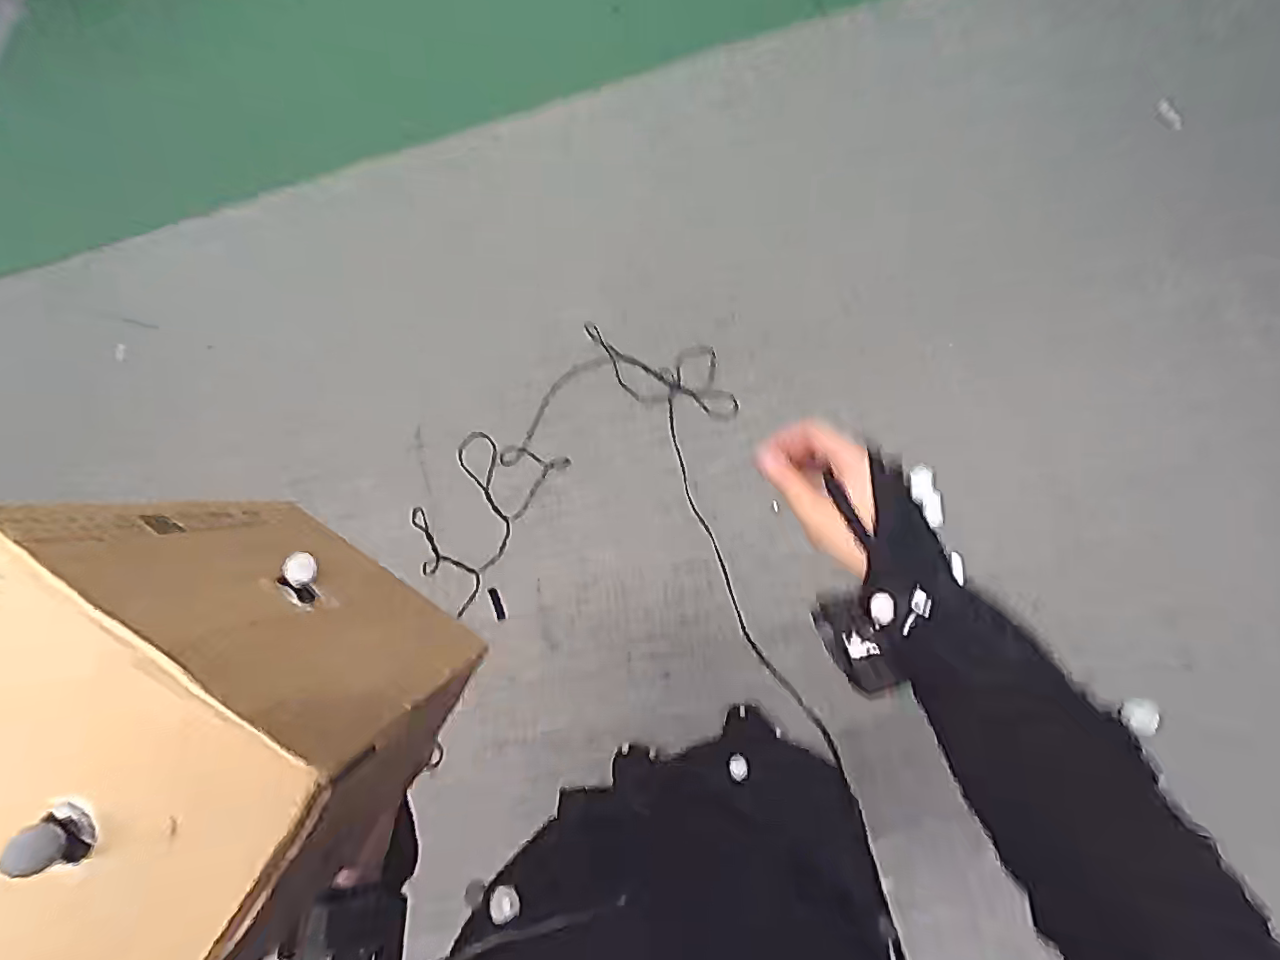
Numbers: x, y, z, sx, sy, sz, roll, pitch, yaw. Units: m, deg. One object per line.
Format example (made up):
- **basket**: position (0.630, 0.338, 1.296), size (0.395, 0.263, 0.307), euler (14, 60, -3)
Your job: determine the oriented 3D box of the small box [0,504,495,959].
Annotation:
- **small box**: position (-0.212, 0.122, 0.278), size (0.176, 0.168, 0.179), euler (34, 91, 3)
